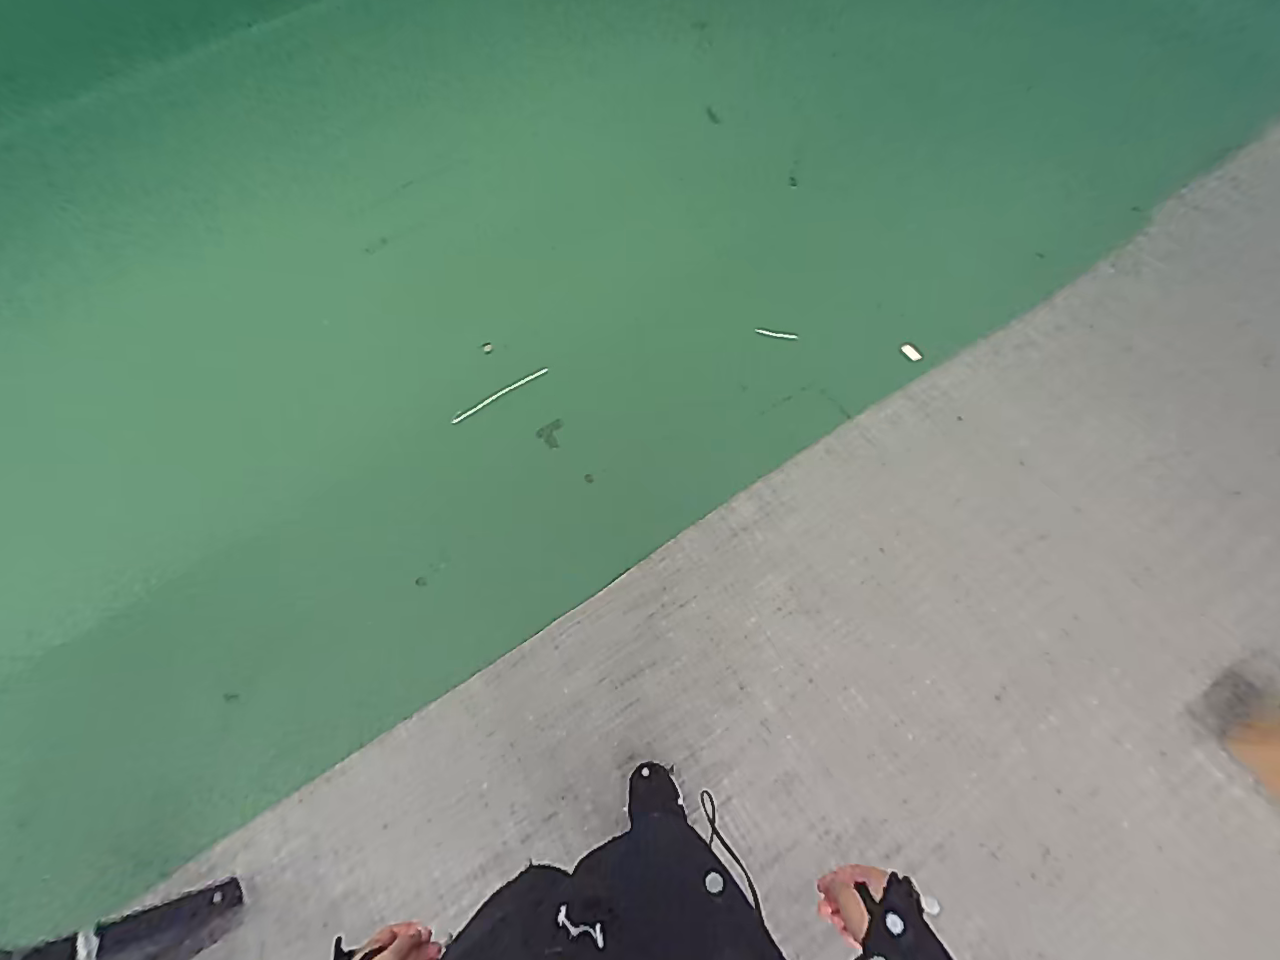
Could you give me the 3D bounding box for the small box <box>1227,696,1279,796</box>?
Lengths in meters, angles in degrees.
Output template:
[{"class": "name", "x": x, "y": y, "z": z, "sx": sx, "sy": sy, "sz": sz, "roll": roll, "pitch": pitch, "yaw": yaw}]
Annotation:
[{"class": "small box", "x": 1.259, "y": 0.504, "z": 0.982, "sx": 0.168, "sy": 0.176, "sz": 0.179, "roll": -35, "pitch": 68, "yaw": -11}]
